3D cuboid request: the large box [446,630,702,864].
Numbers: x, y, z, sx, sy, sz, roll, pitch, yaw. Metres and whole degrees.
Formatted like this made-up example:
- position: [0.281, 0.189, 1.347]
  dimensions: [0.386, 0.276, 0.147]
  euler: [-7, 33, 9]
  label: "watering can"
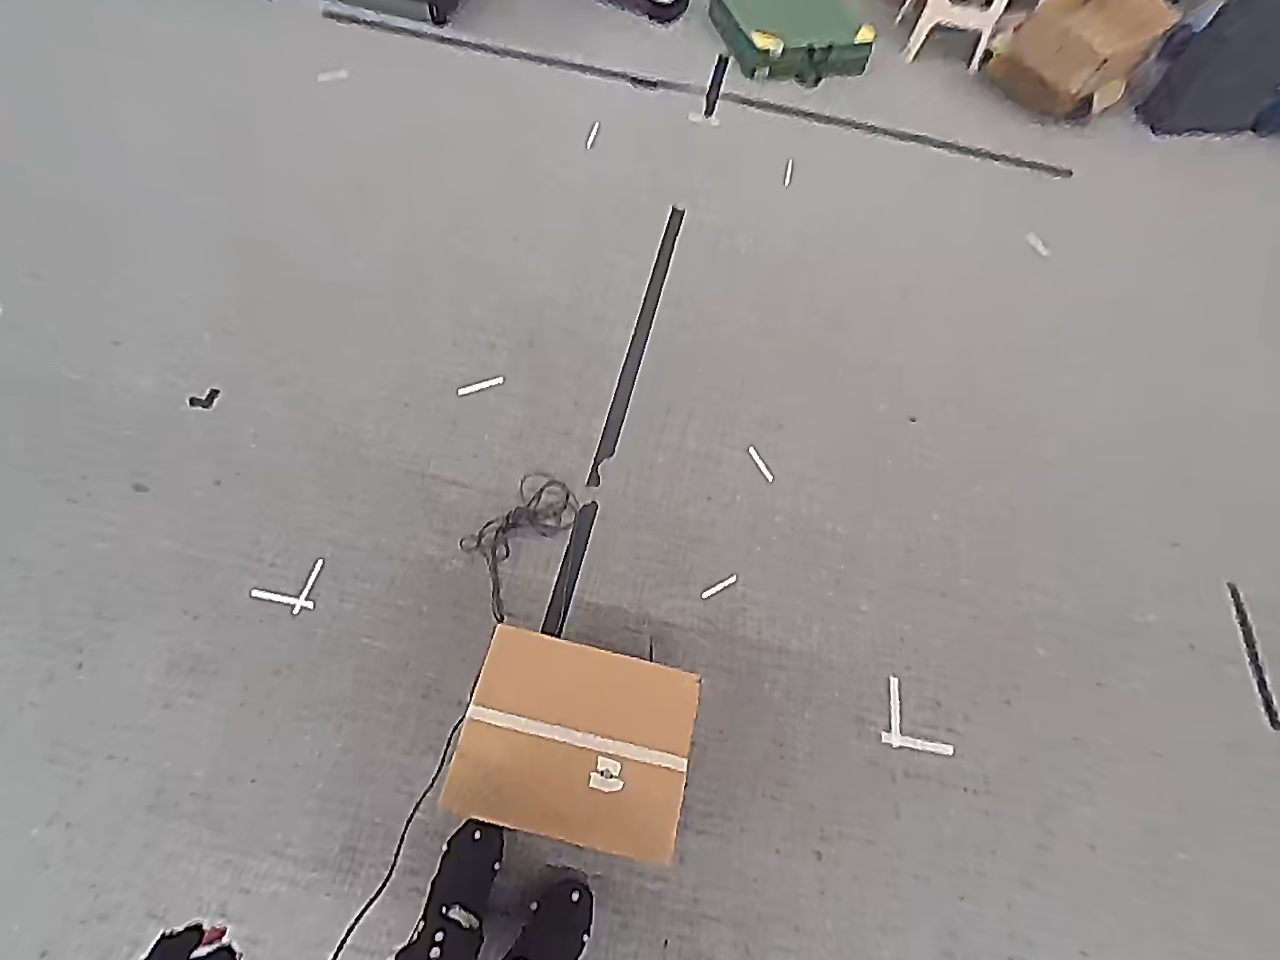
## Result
- position: [-0.123, 0.531, 1.106]
  dimensions: [0.408, 0.320, 0.320]
  euler: [15, 64, 0]
  label: "large box"
